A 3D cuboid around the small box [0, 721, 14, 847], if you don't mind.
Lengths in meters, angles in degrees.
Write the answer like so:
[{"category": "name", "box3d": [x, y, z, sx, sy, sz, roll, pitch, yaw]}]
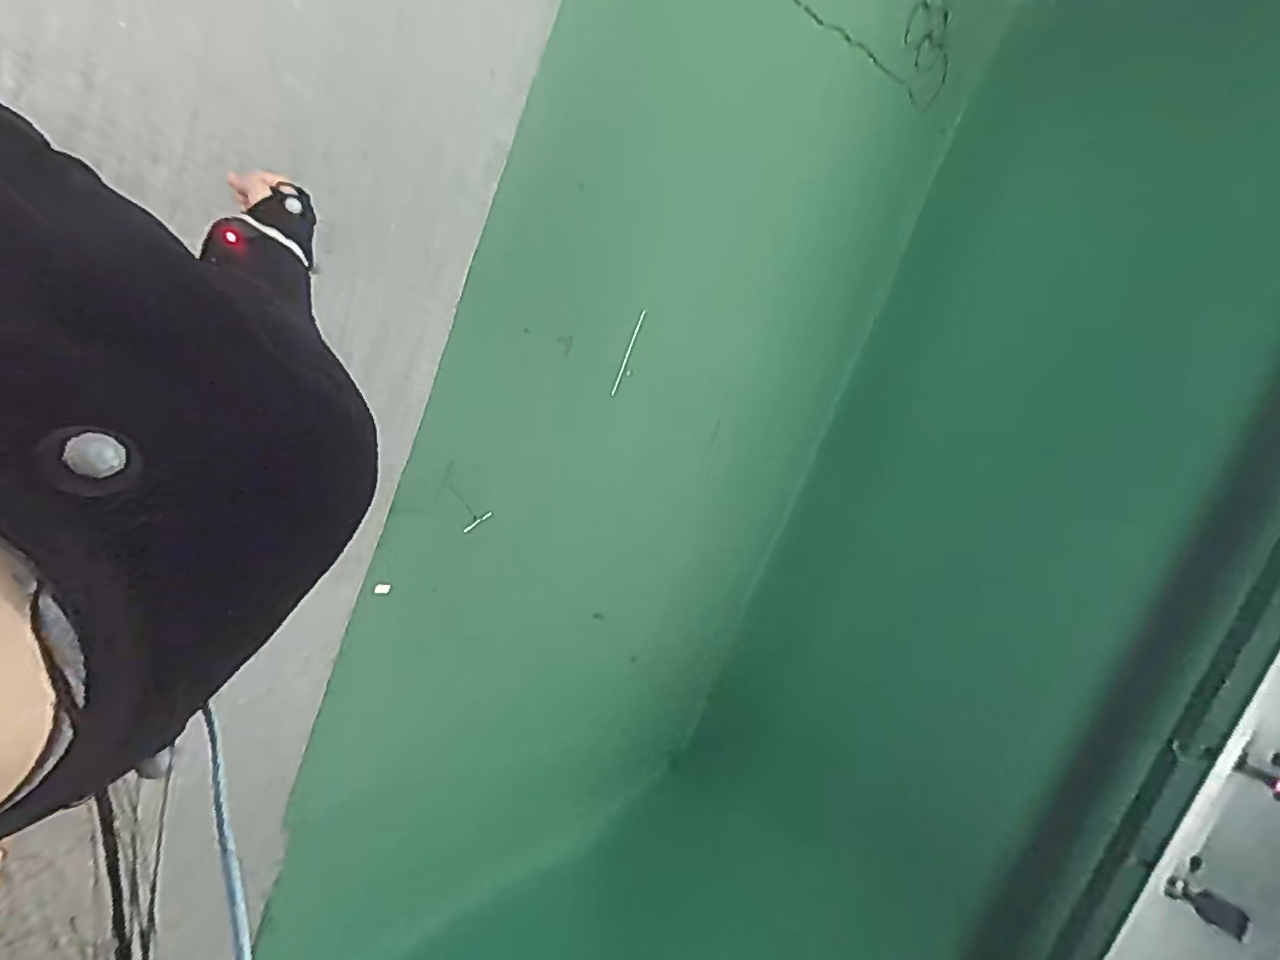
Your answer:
[{"category": "small box", "box3d": [-1.251, 0.562, 0.951, 0.179, 0.176, 0.168, 6, 106, -53]}]
